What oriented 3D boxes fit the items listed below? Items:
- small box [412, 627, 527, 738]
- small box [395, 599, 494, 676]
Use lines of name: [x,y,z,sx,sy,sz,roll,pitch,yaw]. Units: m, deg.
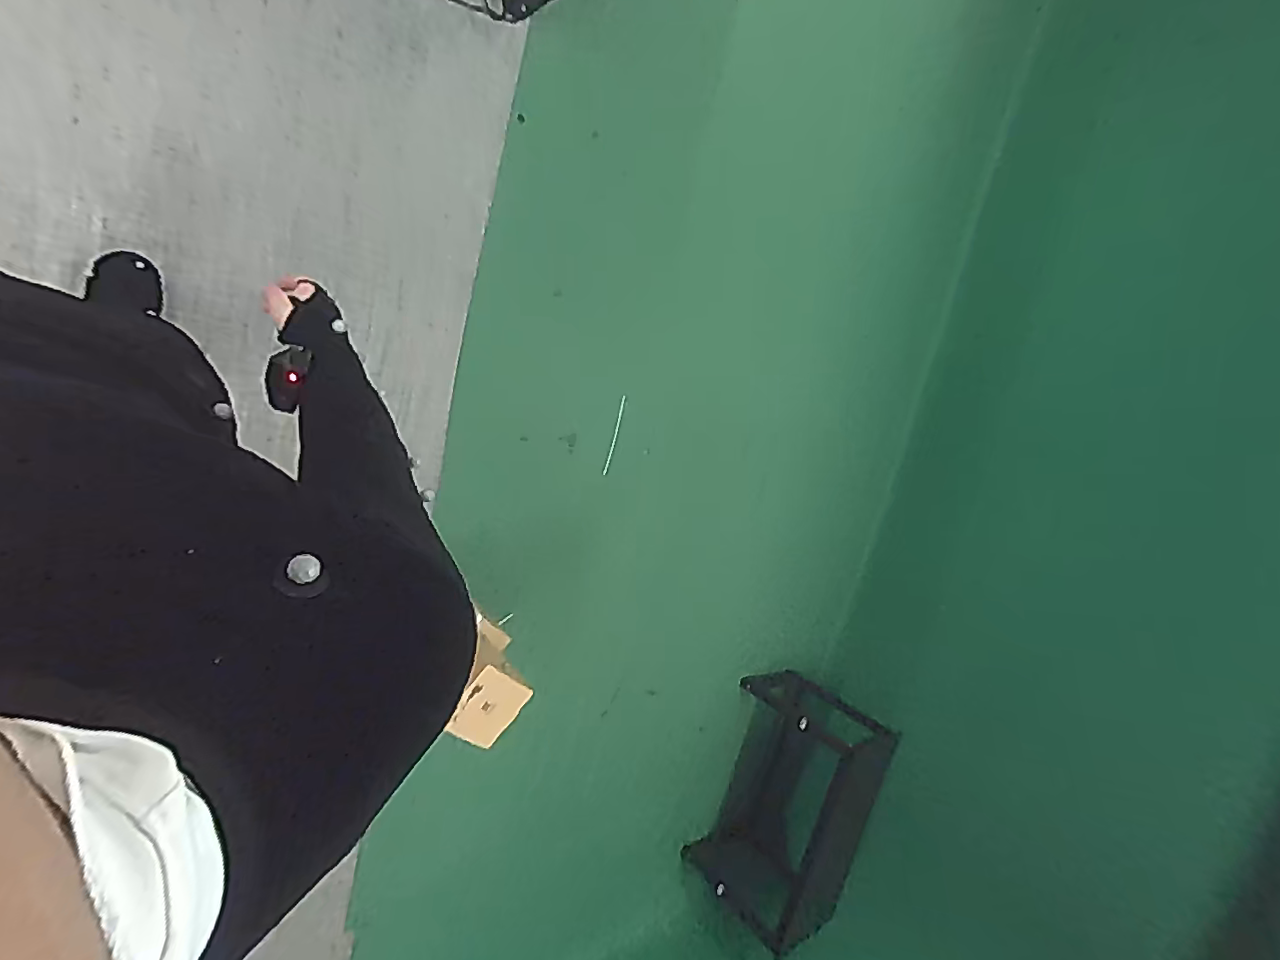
small box: [-0.418,0.489,1.322,0.168,0.176,0.179,-50,132,-15]
small box: [-0.517,0.448,1.447,0.168,0.176,0.179,-50,131,-15]
